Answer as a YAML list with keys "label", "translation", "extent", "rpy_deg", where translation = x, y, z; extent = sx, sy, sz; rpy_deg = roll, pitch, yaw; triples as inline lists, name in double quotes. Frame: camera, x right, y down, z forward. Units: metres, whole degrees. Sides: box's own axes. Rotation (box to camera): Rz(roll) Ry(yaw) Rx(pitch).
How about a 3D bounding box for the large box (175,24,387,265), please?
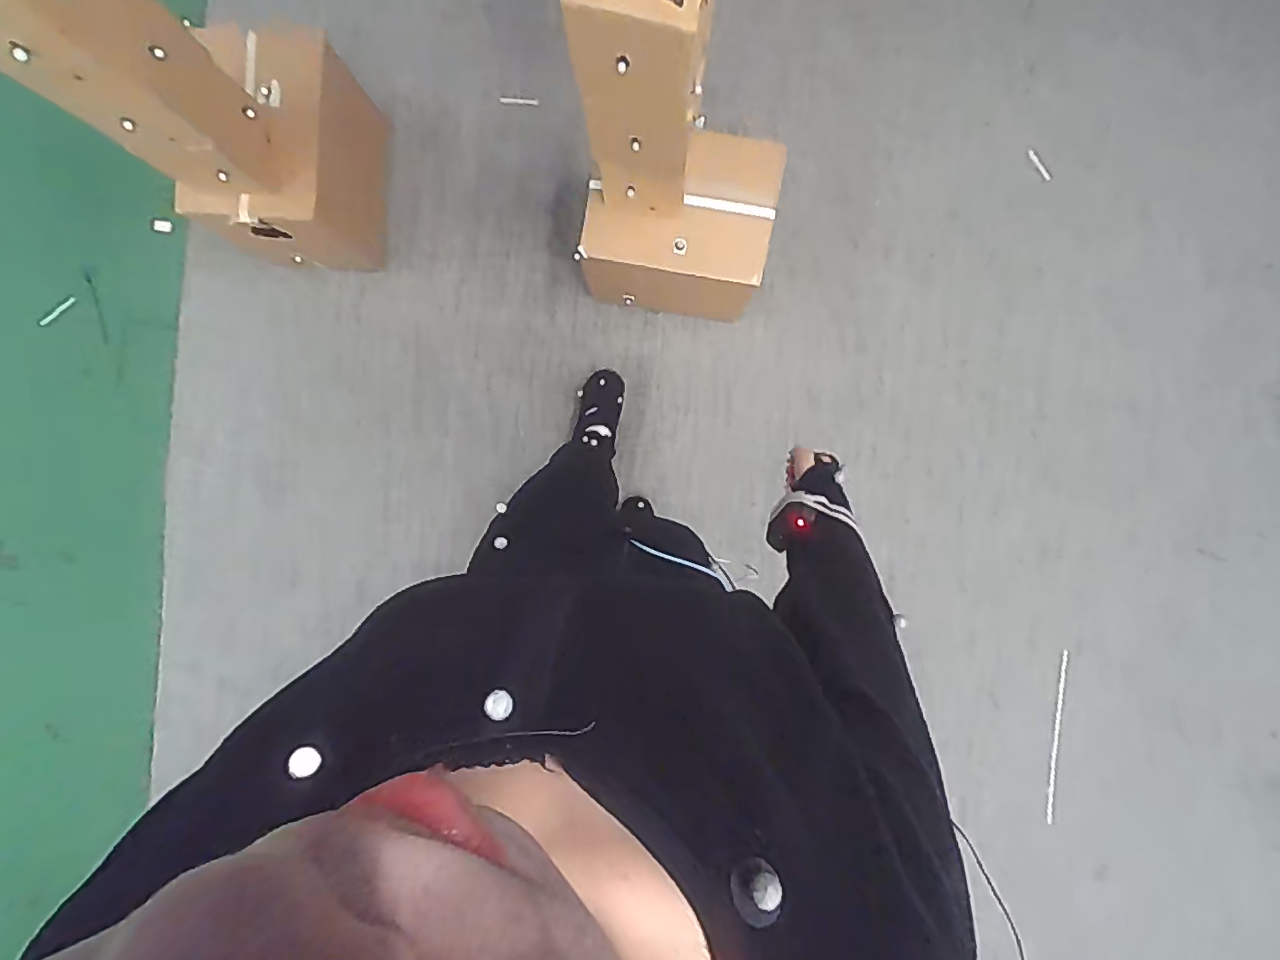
- label: "large box"
  translation: [-0.849, -0.784, 1.321]
  extent: [0.320, 0.320, 0.408]
  rpy_deg: [4, 91, 0]

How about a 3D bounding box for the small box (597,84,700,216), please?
- label: "small box"
  translation: [0.017, -0.657, 1.076]
  extent: [0.168, 0.176, 0.179]
  rpy_deg: [11, 90, 0]

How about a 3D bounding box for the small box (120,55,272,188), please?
- label: "small box"
  translation: [-0.873, -0.709, 1.079]
  extent: [0.179, 0.176, 0.168]
  rpy_deg: [3, 91, 1]

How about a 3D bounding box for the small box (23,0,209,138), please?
- label: "small box"
  translation: [-0.874, -0.711, 0.916]
  extent: [0.168, 0.176, 0.179]
  rpy_deg: [-1, 91, 0]

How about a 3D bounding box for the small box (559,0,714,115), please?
- label: "small box"
  translation: [0.005, -0.649, 0.747]
  extent: [0.179, 0.176, 0.168]
  rpy_deg: [15, 90, 1]
